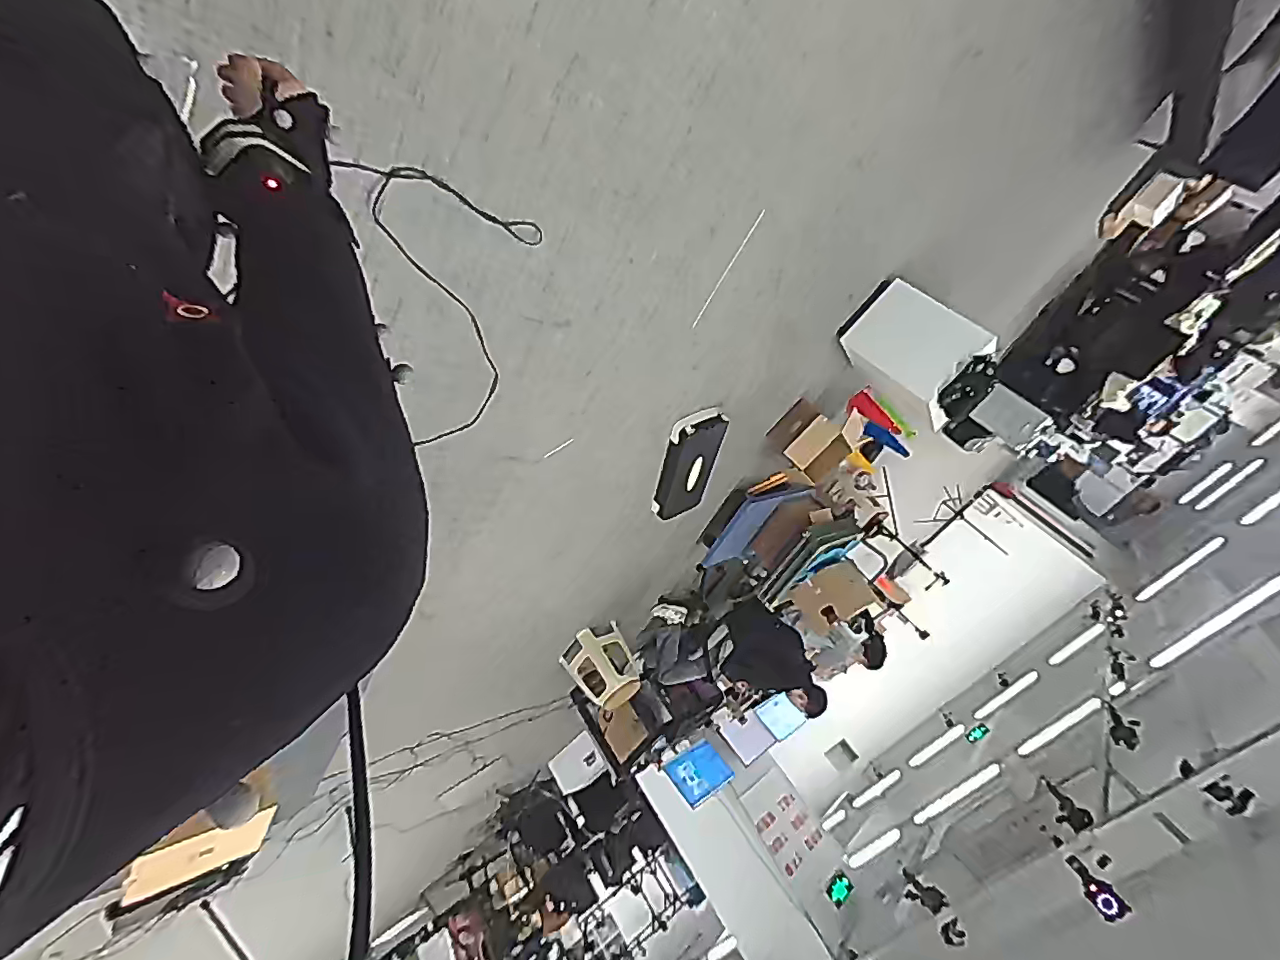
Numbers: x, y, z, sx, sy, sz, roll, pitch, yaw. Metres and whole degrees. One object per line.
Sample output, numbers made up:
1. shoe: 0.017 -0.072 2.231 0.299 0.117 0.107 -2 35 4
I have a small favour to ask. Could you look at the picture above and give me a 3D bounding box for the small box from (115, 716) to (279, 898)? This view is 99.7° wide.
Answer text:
1. small box: -0.728 0.521 0.887 0.179 0.176 0.168 0 132 -49
